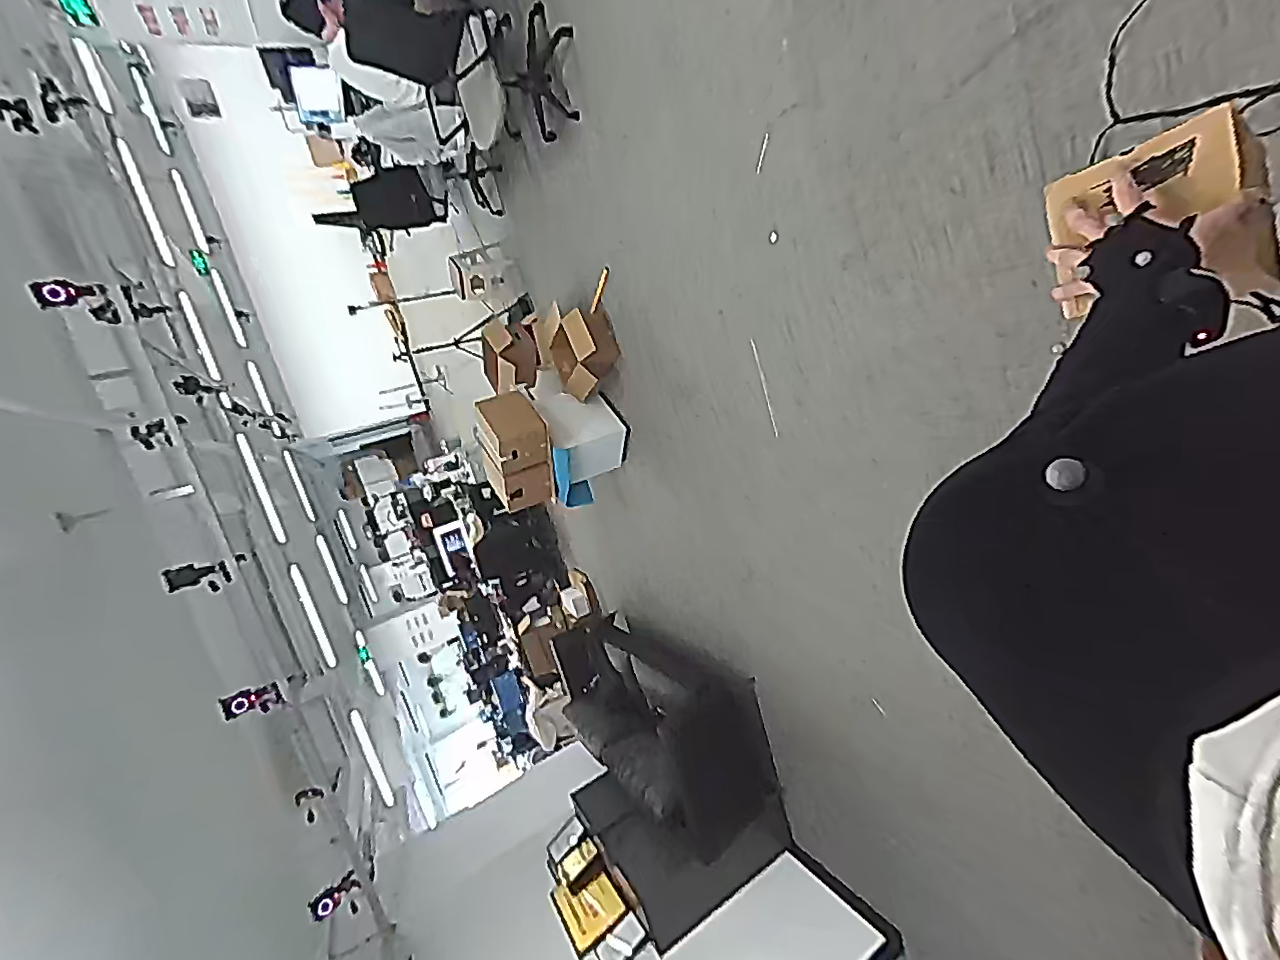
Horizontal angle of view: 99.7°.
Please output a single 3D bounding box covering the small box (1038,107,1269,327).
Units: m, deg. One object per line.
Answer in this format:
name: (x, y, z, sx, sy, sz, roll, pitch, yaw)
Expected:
small box: (0.632, -0.304, 0.671, 0.168, 0.176, 0.179, -11, 86, 56)
